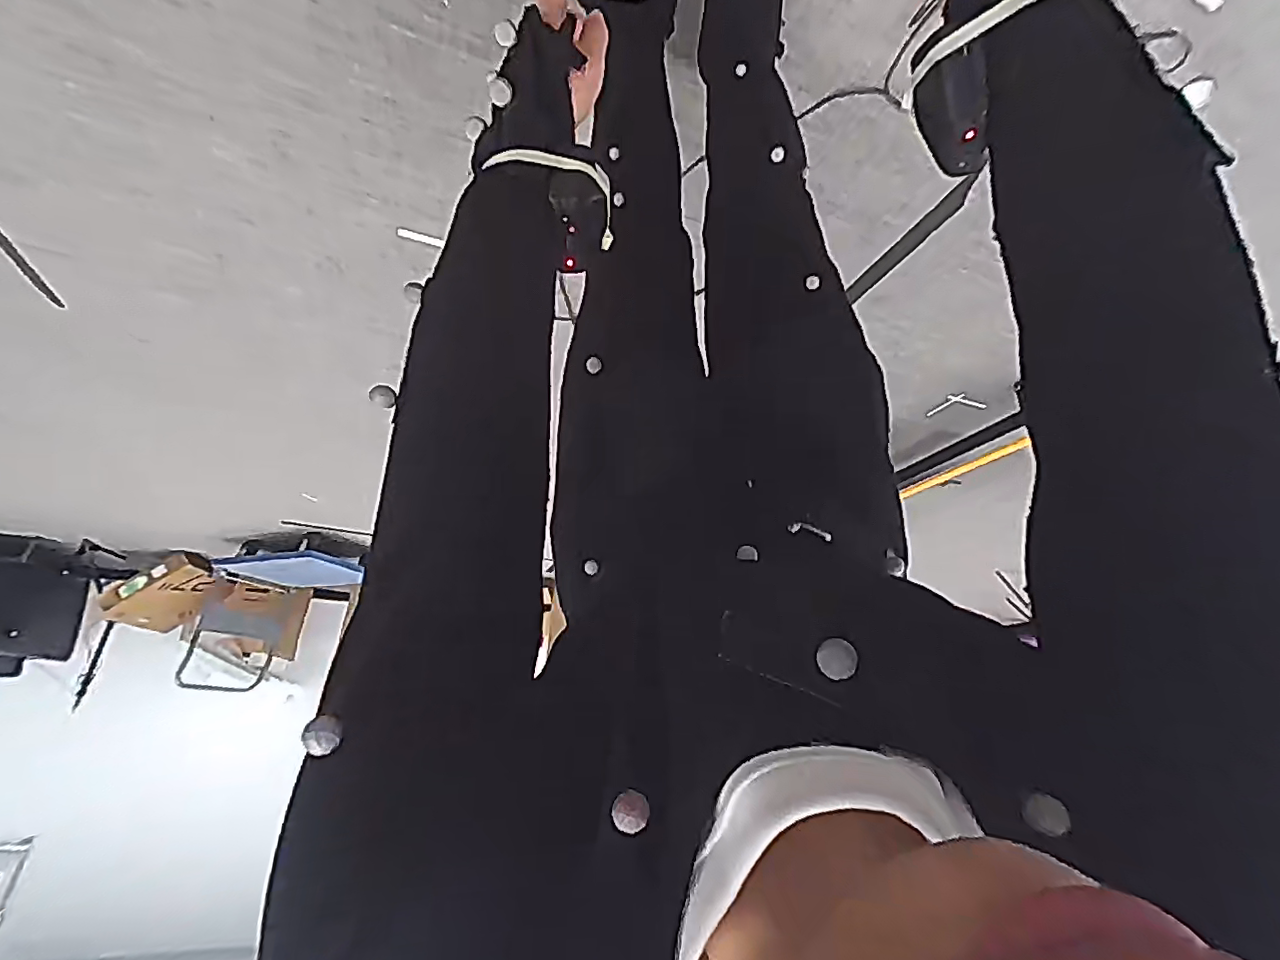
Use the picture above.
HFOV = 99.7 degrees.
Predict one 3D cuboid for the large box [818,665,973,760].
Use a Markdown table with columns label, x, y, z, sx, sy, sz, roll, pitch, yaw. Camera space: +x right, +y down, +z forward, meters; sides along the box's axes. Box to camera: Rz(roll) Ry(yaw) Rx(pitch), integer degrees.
| label | x | y | z | sx | sy | sz | roll | pitch | yaw |
| --- | --- | --- | --- | --- | --- | --- | --- | --- | --- |
| large box | 0.953 | 0.882 | 2.058 | 0.408 | 0.320 | 0.320 | 9 | 156 | -19 |
